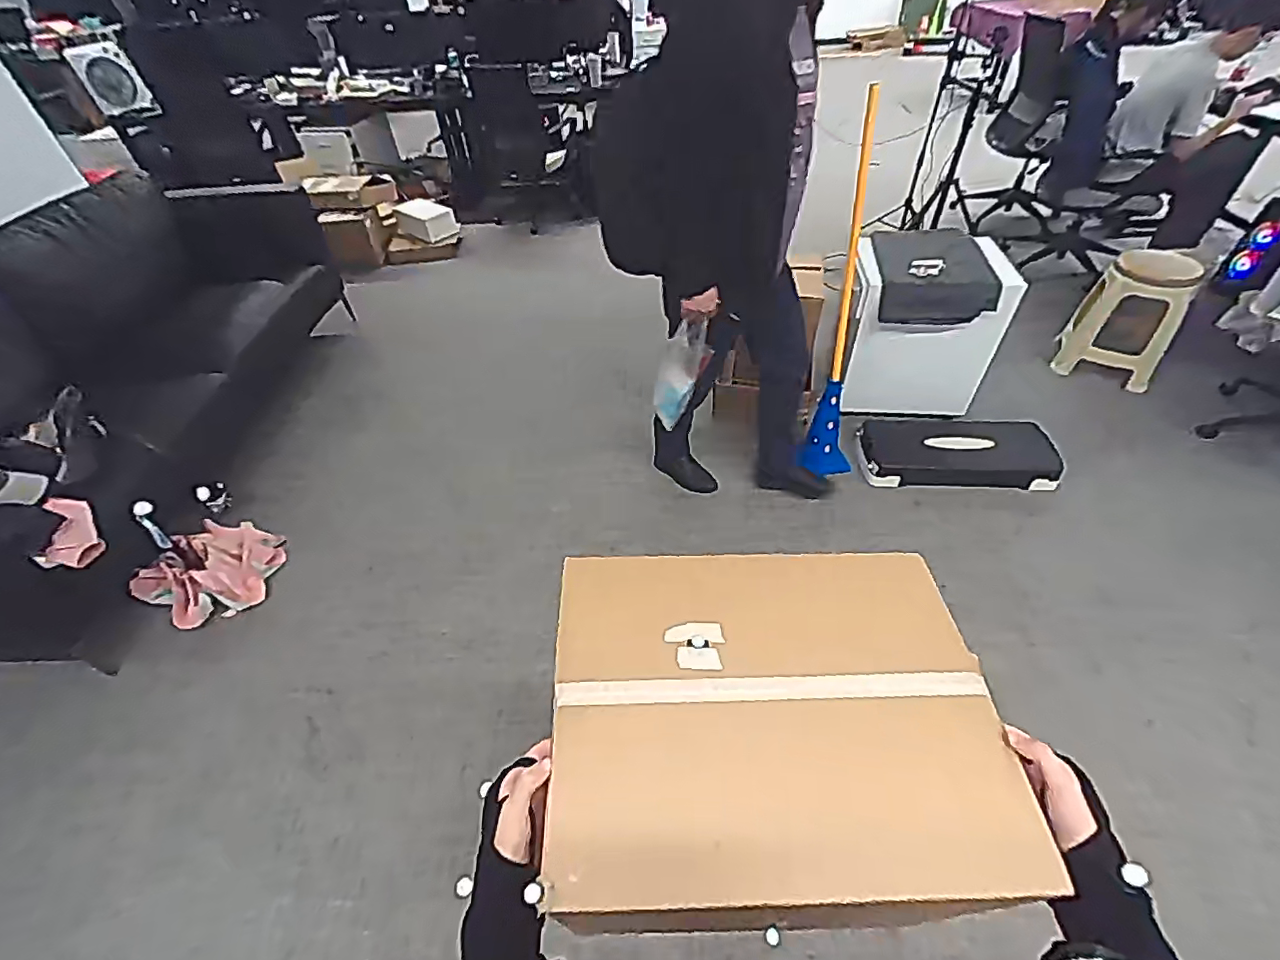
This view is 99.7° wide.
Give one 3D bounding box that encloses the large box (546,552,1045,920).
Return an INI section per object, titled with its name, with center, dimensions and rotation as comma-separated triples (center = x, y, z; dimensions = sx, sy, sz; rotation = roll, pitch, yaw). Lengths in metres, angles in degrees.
[large box]
center = 0.121, 0.302, 0.629
dimensions = 0.408, 0.320, 0.320
rotation = -1, 48, -1
